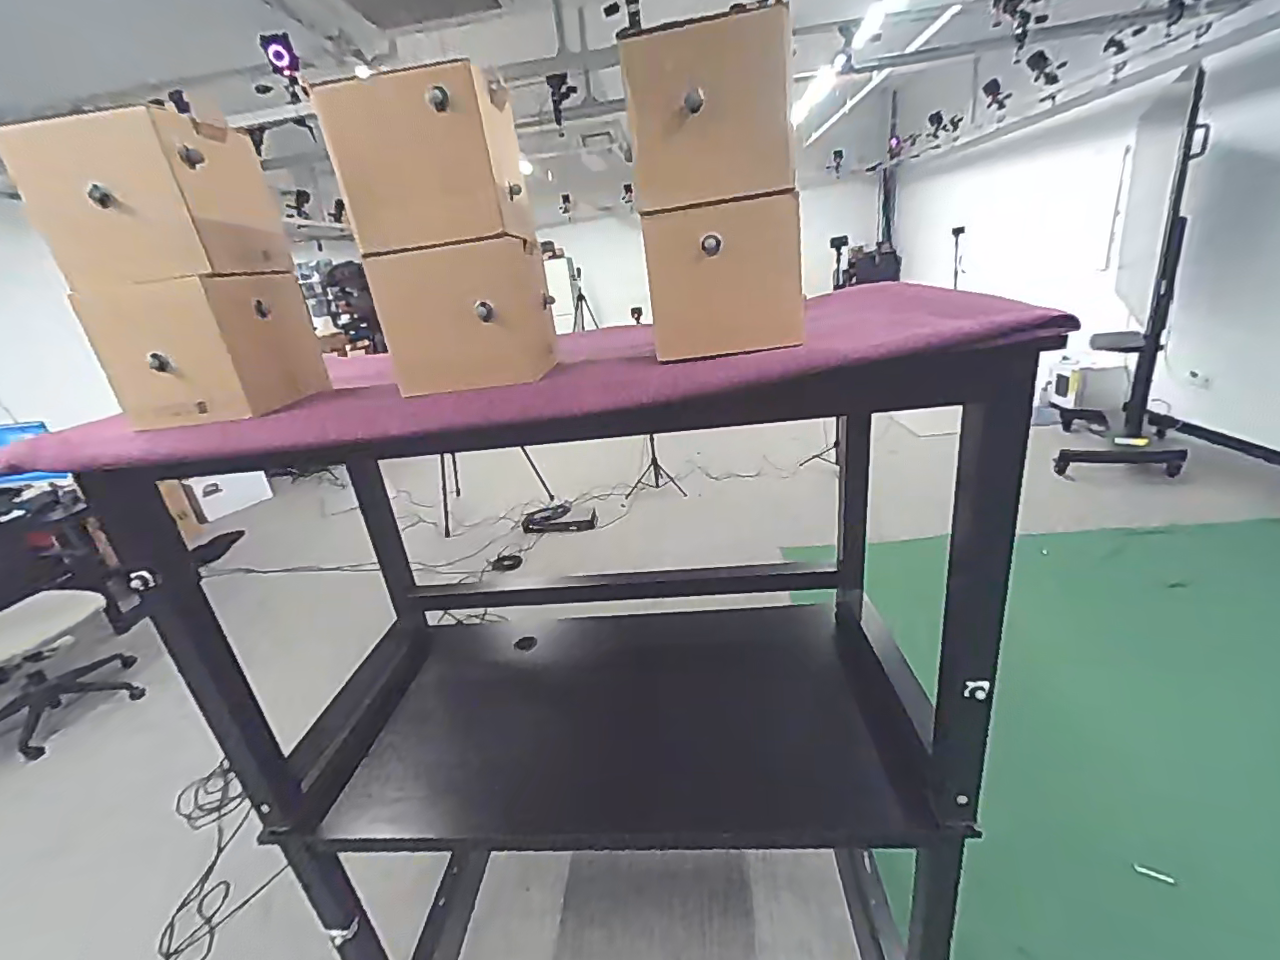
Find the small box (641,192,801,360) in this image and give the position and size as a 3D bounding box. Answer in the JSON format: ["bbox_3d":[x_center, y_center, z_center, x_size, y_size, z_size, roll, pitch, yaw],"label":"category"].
[{"bbox_3d":[0.105,-0.254,0.701,0.179,0.176,0.168,-5,19,8],"label":"small box"}]

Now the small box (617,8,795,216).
[{"bbox_3d":[0.082,-0.408,0.649,0.179,0.176,0.168,-6,19,9],"label":"small box"}]

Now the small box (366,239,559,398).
[{"bbox_3d":[-0.215,-0.213,0.713,0.179,0.176,0.168,-6,20,6],"label":"small box"}]

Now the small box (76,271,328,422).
[{"bbox_3d":[-0.556,-0.177,0.720,0.168,0.176,0.179,-5,22,4],"label":"small box"}]

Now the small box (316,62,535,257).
[{"bbox_3d":[-0.241,-0.365,0.657,0.179,0.176,0.168,-6,21,4],"label":"small box"}]
